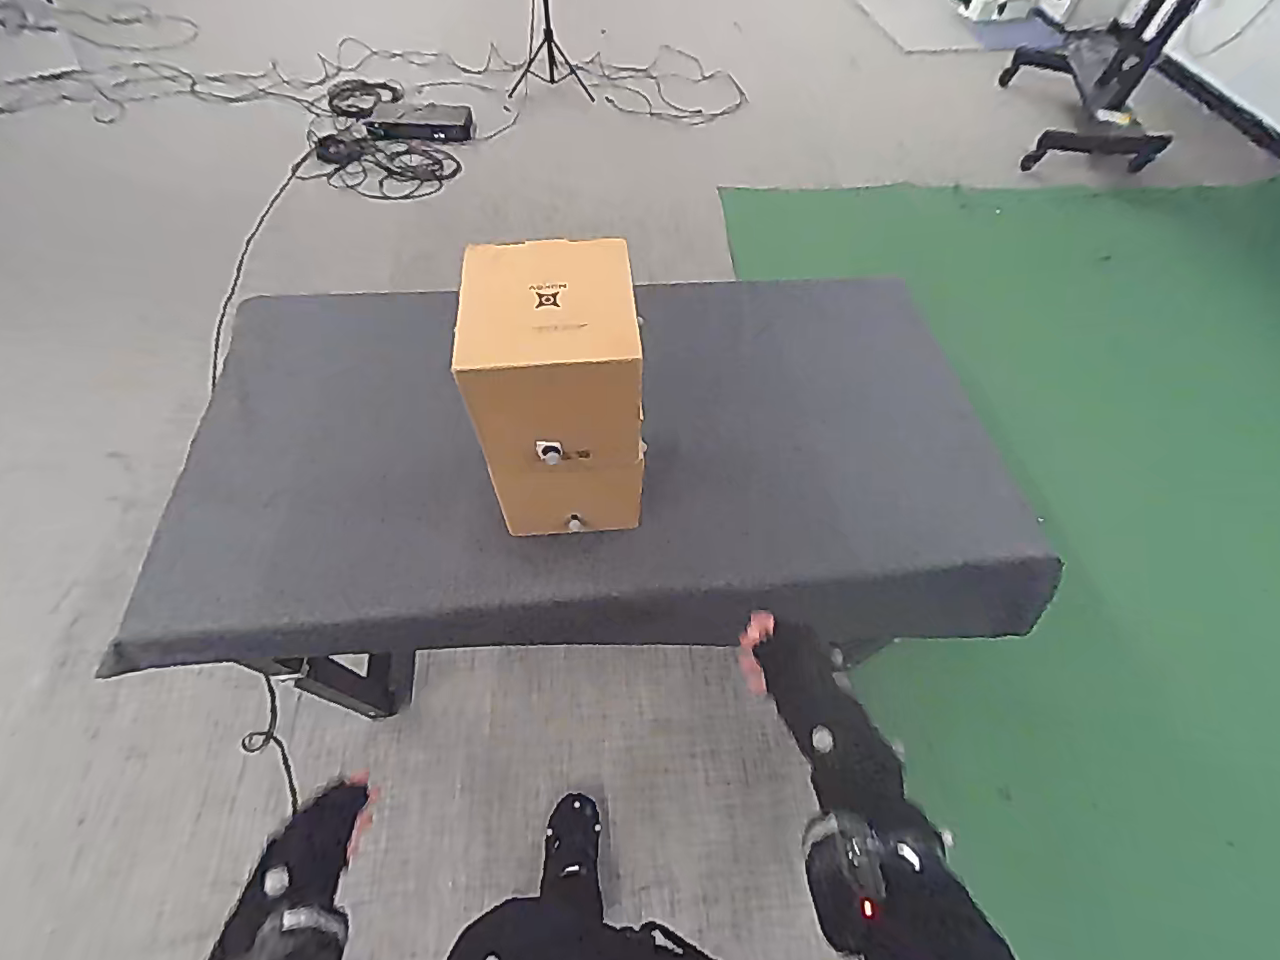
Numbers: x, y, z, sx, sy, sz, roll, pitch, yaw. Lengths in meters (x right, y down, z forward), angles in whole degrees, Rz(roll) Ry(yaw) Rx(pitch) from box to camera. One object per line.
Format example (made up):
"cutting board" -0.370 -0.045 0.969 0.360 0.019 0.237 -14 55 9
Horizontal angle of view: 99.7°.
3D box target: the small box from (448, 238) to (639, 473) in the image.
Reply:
"small box" -0.091 -0.128 0.577 0.168 0.176 0.179 -5 59 -3

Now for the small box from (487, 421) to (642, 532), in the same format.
"small box" -0.095 -0.042 0.715 0.179 0.176 0.168 -3 58 -5
